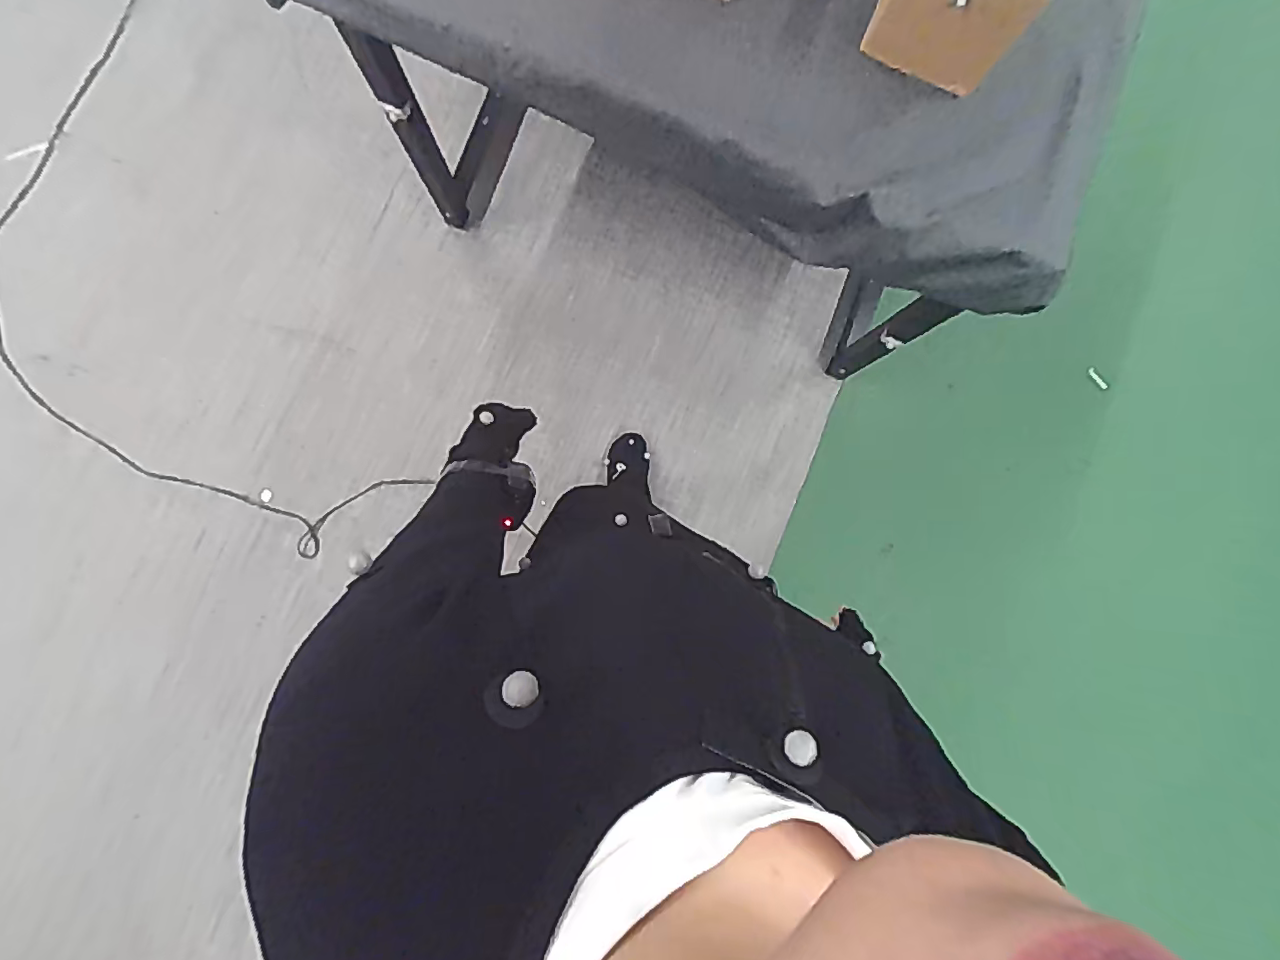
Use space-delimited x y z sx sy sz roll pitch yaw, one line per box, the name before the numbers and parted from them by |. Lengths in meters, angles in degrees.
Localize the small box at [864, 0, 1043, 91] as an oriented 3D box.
small box | 0.437 -0.679 0.729 0.179 0.176 0.168 22 87 -3
